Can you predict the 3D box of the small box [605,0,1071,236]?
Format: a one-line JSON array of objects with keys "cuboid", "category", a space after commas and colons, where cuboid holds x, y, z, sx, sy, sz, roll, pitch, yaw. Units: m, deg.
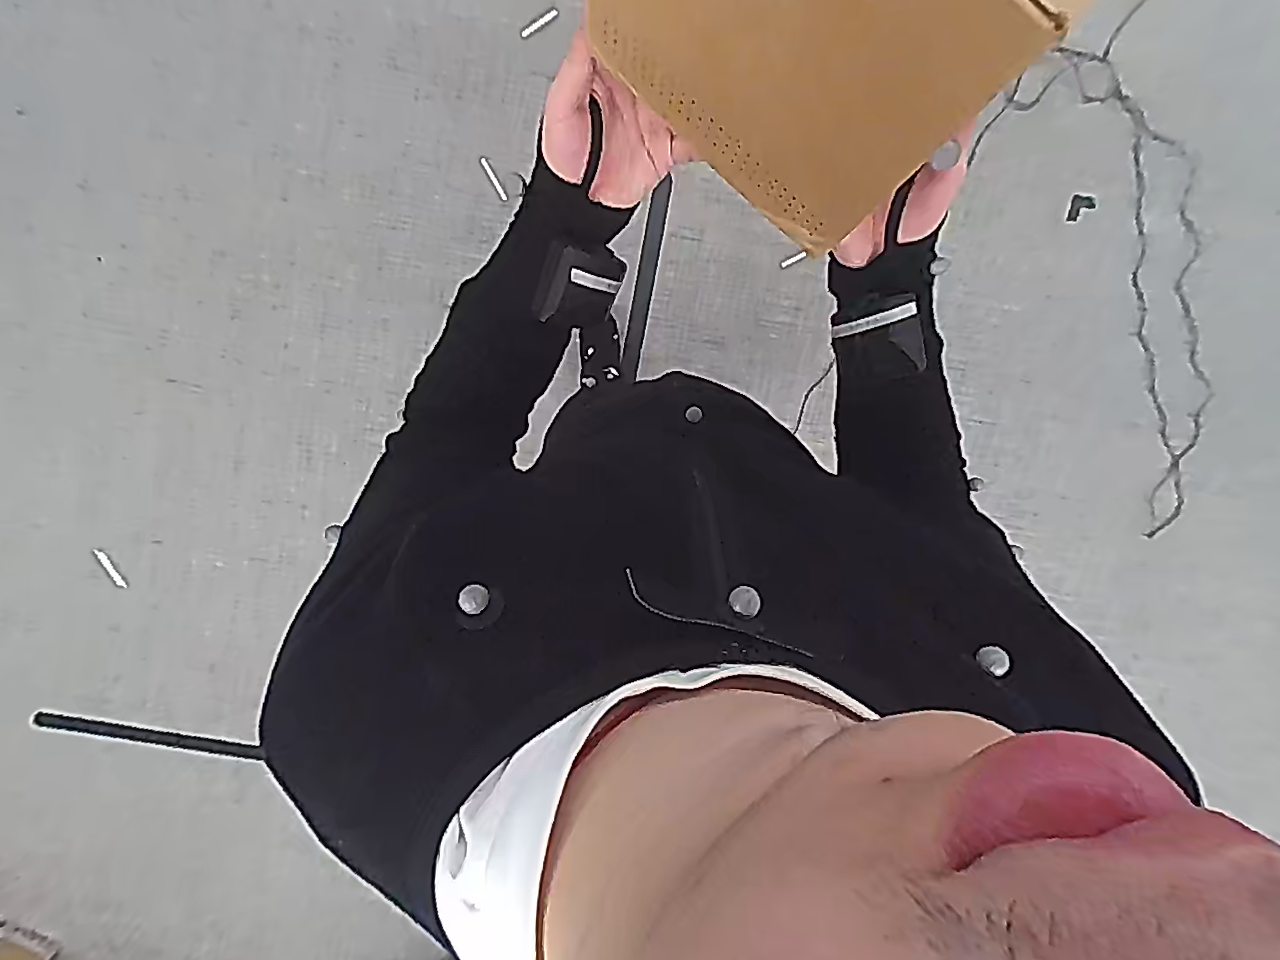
[{"cuboid": [0.098, -0.250, 0.240, 0.179, 0.176, 0.168, 40, 87, -6], "category": "small box"}]
